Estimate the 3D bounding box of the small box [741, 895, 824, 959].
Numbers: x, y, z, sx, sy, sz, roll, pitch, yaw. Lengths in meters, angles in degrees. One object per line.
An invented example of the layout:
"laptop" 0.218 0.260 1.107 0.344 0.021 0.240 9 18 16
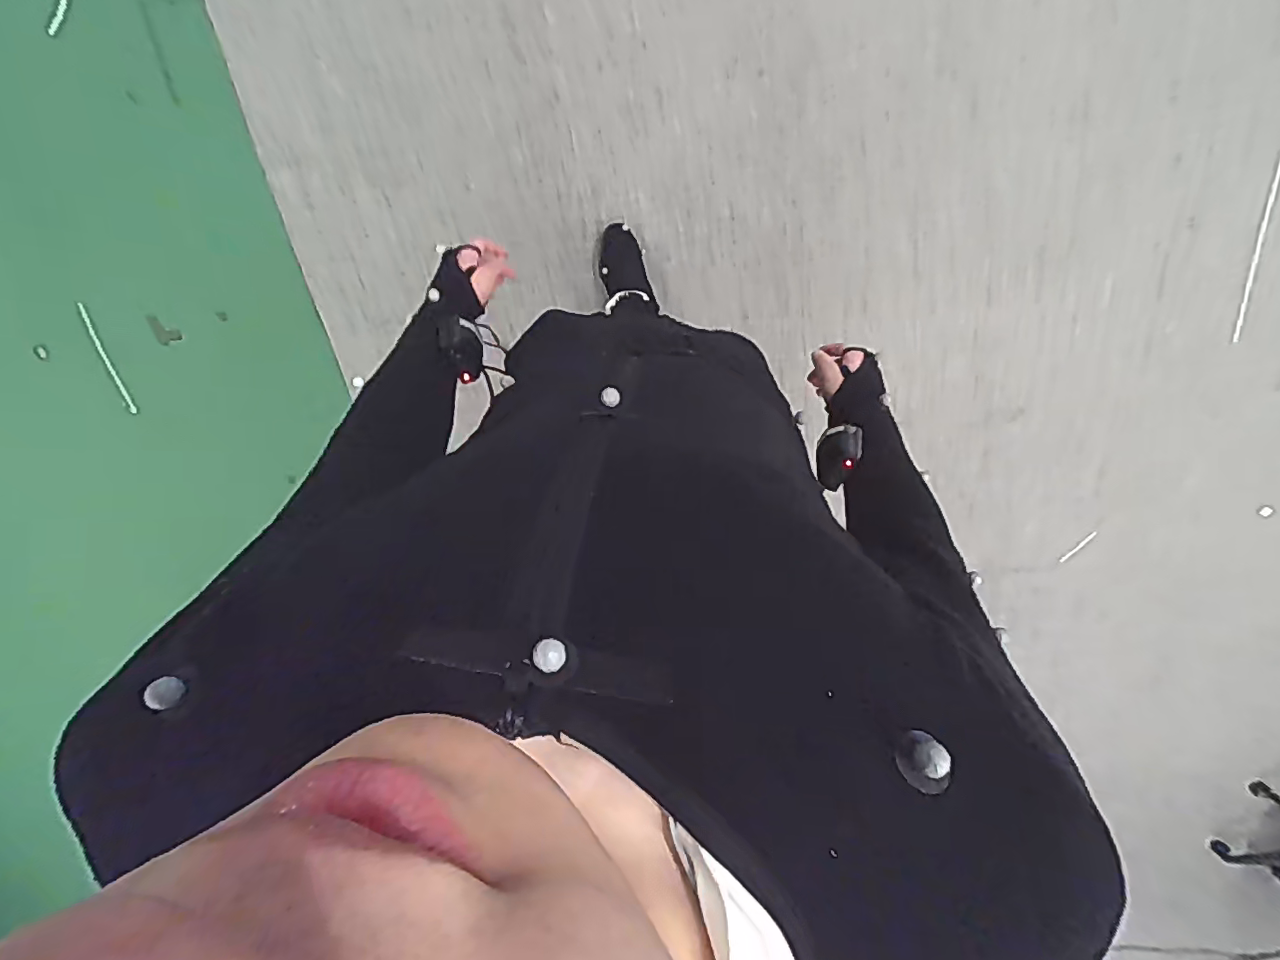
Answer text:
"small box" 0.337 1.127 1.289 0.168 0.176 0.179 -5 112 4
